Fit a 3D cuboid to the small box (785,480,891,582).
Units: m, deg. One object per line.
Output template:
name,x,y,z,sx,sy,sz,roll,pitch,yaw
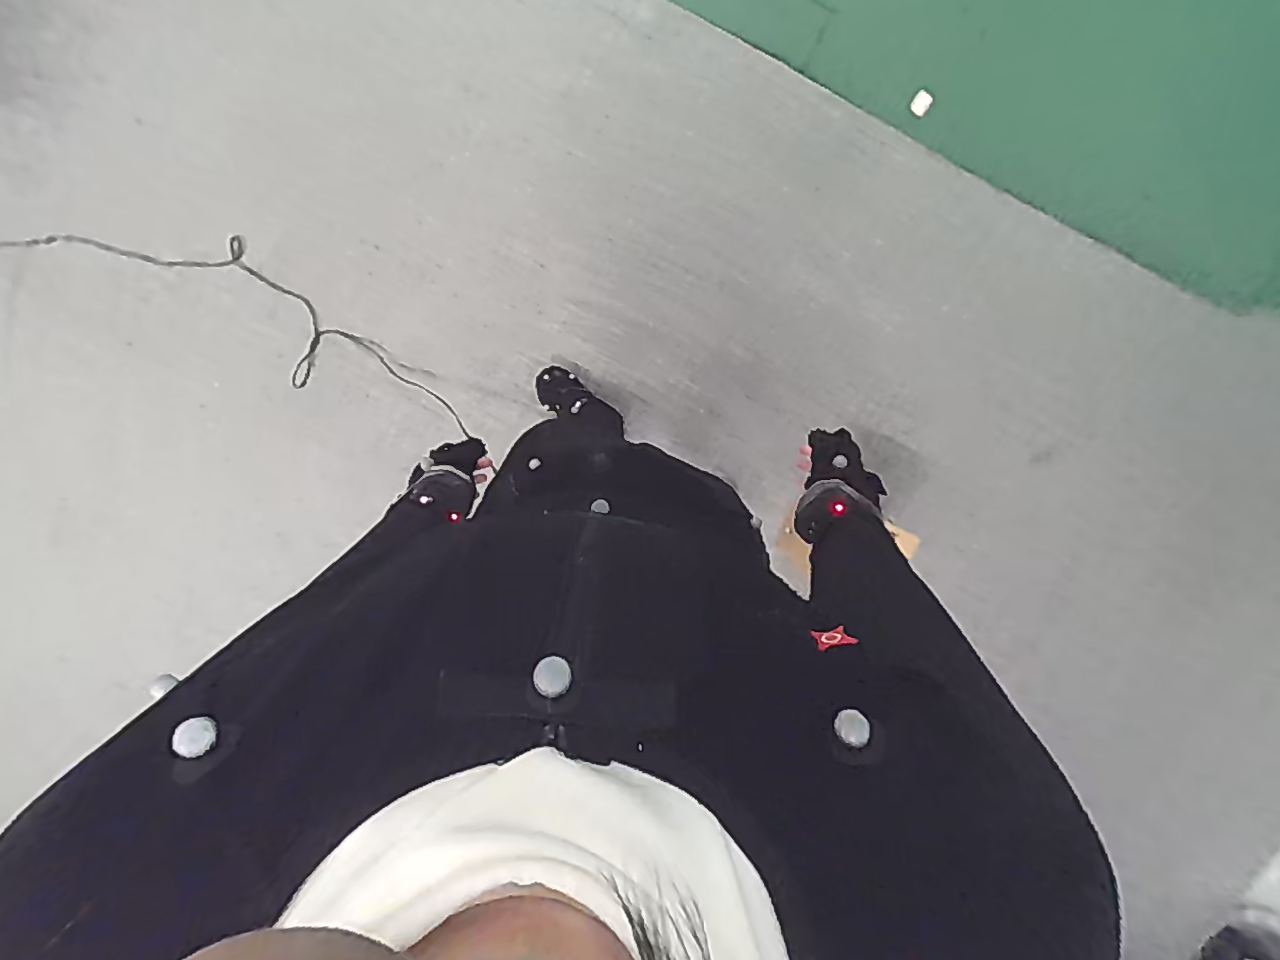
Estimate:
small box,0.474,0.118,1.332,0.168,0.176,0.179,27,98,-1
